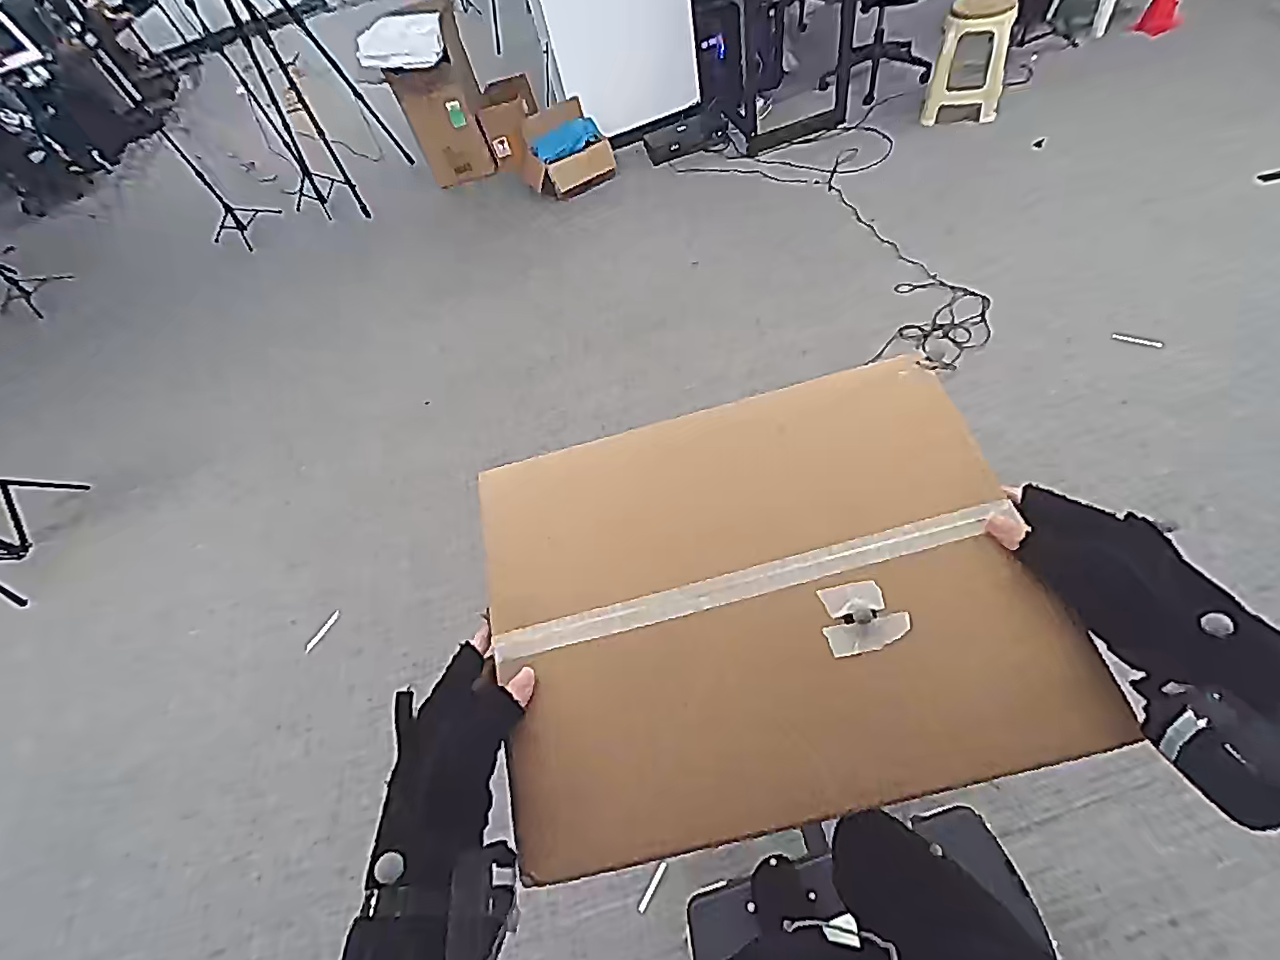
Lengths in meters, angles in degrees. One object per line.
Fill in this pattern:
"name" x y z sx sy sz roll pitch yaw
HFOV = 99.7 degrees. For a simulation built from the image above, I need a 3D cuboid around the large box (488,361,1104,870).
"large box" 0.105 0.141 0.559 0.408 0.320 0.320 -16 65 2
